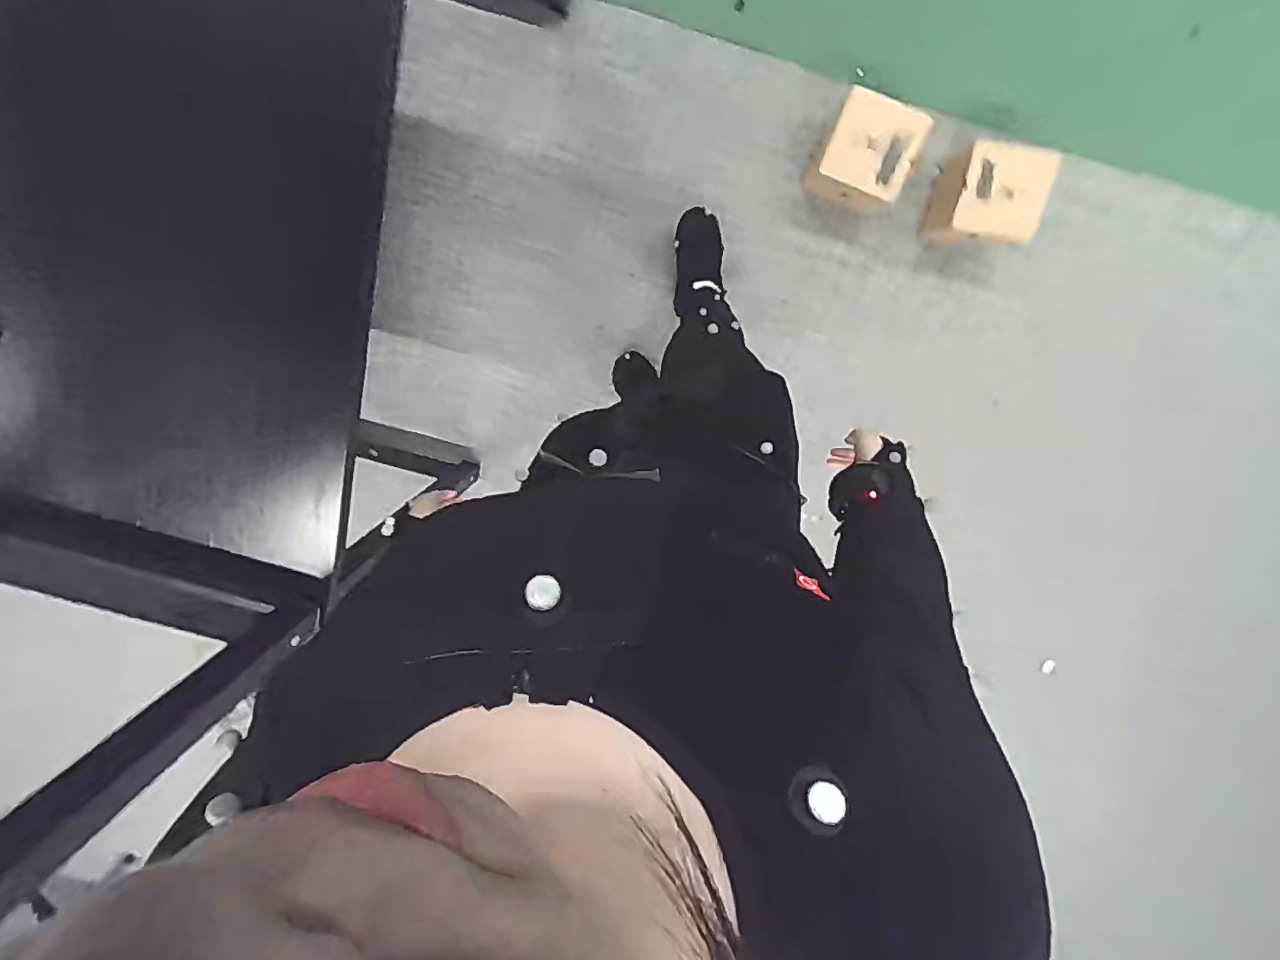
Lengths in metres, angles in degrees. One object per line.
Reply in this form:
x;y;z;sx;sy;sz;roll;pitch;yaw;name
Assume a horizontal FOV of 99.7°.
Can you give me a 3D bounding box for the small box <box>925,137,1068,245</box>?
0.751;-0.611;1.165;0.179;0.176;0.168;9;110;0;small box
